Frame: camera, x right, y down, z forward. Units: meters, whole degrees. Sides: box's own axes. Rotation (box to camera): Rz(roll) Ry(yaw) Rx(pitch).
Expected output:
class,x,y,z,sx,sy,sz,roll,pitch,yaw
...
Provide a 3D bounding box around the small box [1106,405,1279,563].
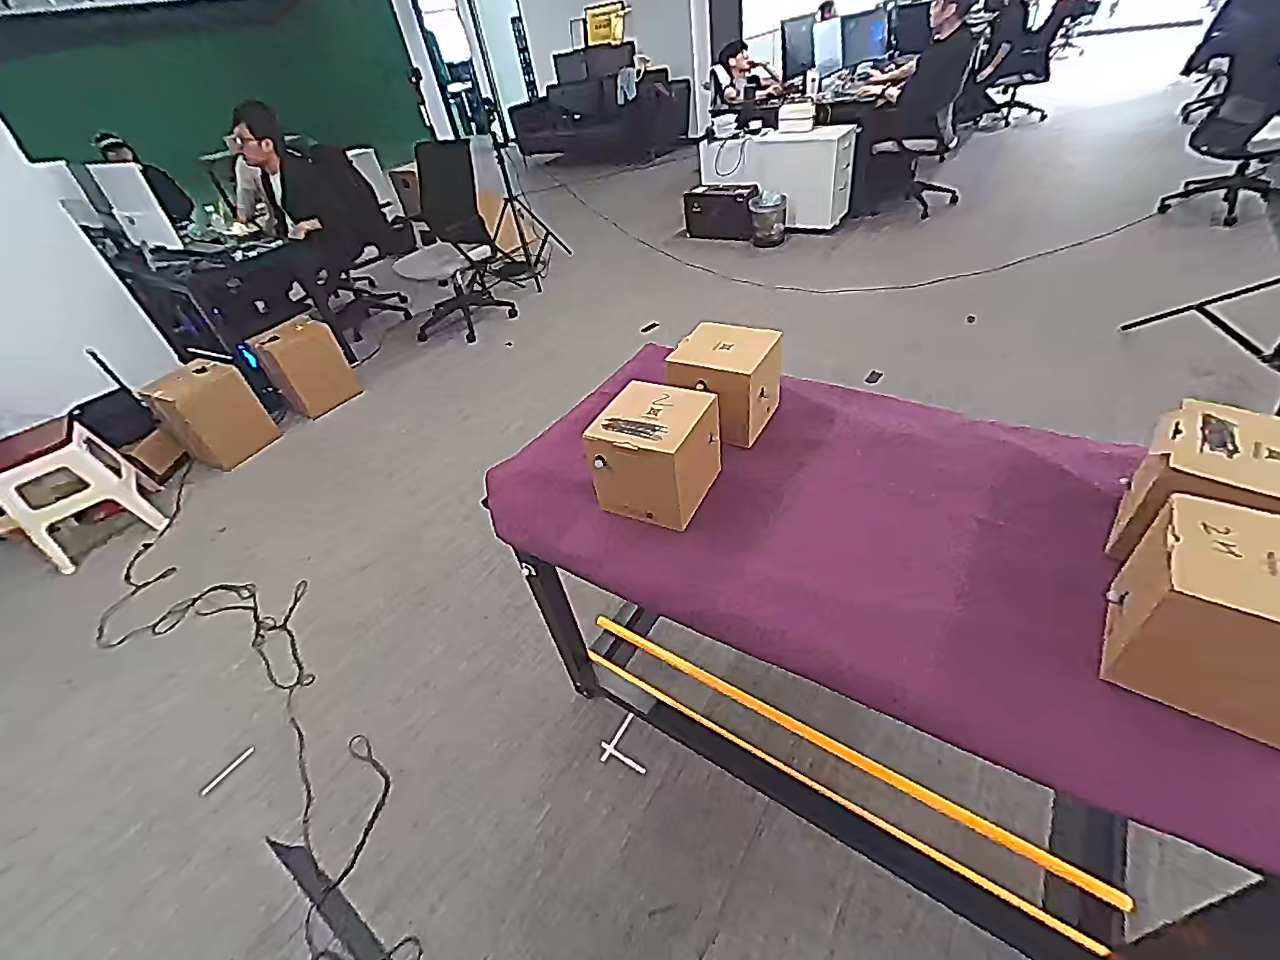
class,x,y,z,sx,sy,sz,roll,pitch,yaw
small box,0.754,0.033,0.701,0.179,0.176,0.168,25,53,33

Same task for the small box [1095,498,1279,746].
class,x,y,z,sx,sy,sz,roll,pitch,yaw
small box,0.642,0.153,0.585,0.179,0.176,0.168,20,47,32

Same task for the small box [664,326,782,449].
class,x,y,z,sx,sy,sz,roll,pitch,yaw
small box,0.169,-0.183,1.077,0.179,0.176,0.168,16,47,27
